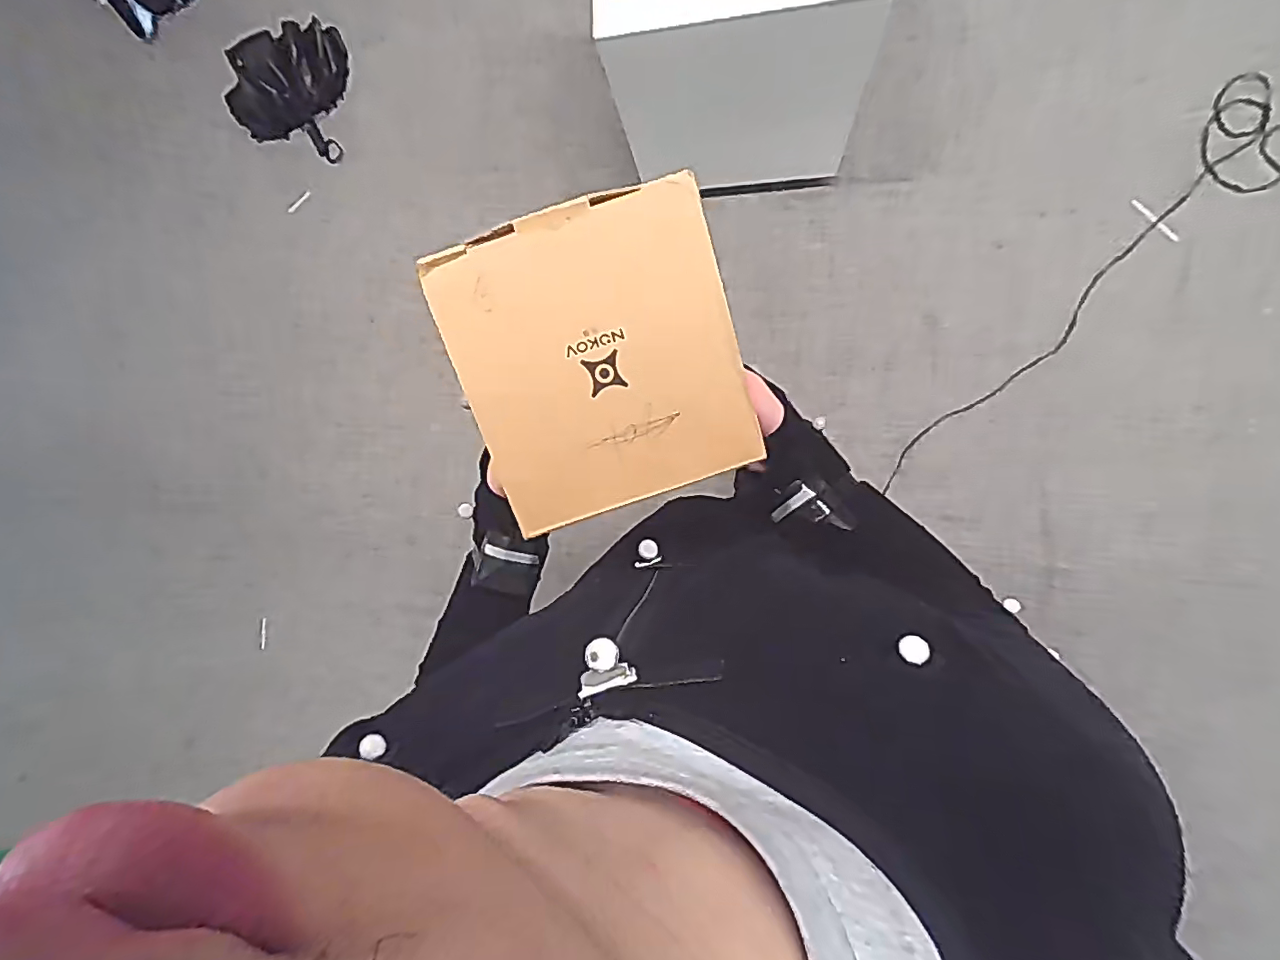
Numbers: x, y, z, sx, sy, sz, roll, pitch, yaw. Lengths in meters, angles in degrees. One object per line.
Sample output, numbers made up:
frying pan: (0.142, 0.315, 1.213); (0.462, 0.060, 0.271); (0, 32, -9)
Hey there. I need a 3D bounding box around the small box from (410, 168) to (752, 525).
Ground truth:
small box: (-0.036, -0.094, 0.401); (0.168, 0.176, 0.179); (-18, 107, 1)
